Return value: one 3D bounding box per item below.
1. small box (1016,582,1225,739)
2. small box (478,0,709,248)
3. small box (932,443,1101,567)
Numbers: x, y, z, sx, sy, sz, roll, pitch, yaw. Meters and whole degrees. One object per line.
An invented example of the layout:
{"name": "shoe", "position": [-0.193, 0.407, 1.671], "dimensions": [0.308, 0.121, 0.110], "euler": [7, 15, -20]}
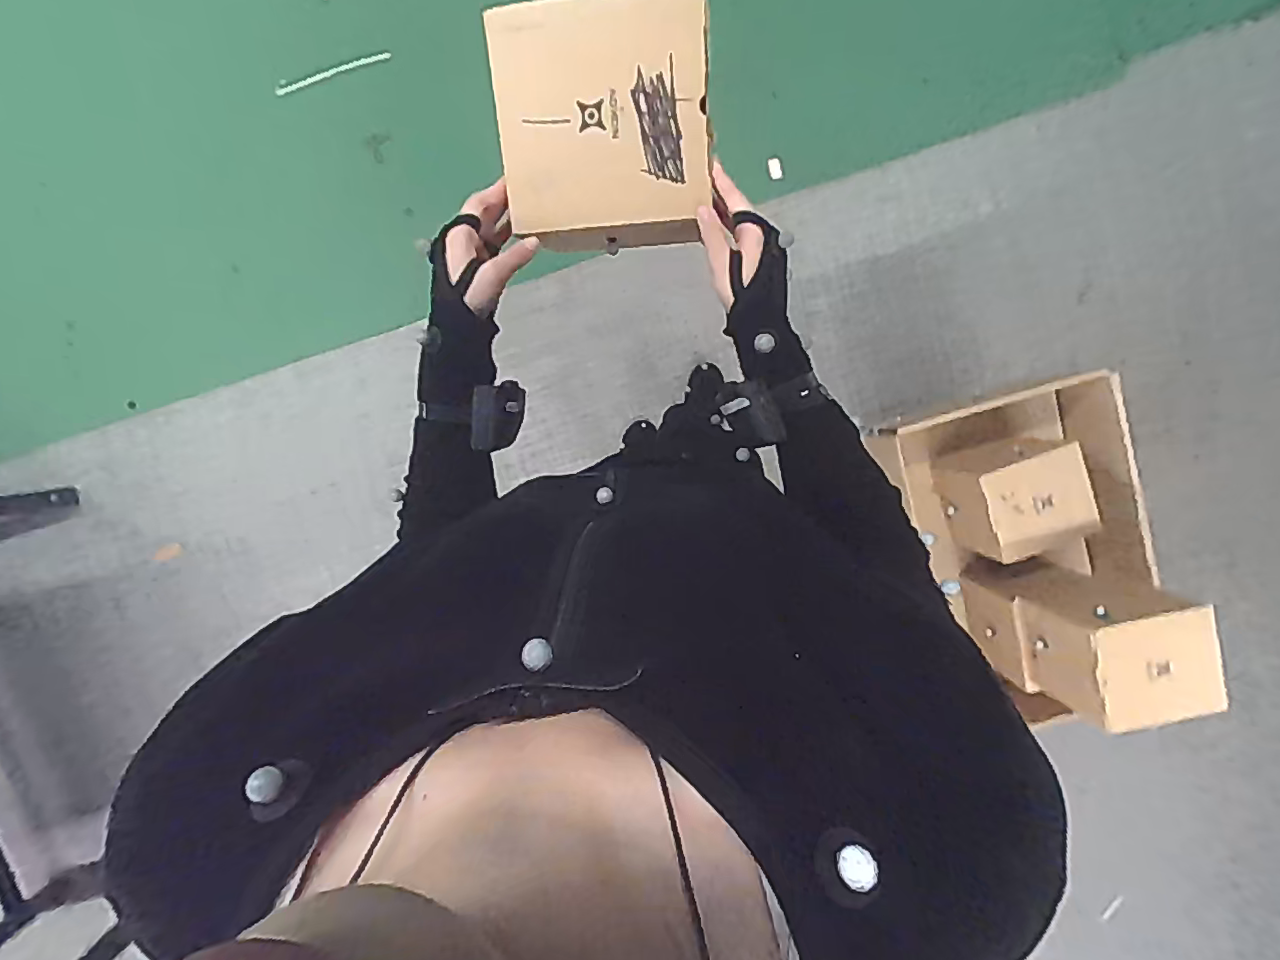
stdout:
{"name": "small box", "position": [0.750, 0.274, 0.860], "dimensions": [0.179, 0.176, 0.168], "euler": [-13, 95, 2]}
{"name": "small box", "position": [-0.029, -0.321, 0.510], "dimensions": [0.179, 0.176, 0.168], "euler": [-3, 107, 6]}
{"name": "small box", "position": [0.682, 0.037, 0.996], "dimensions": [0.179, 0.176, 0.168], "euler": [-20, 96, 3]}
